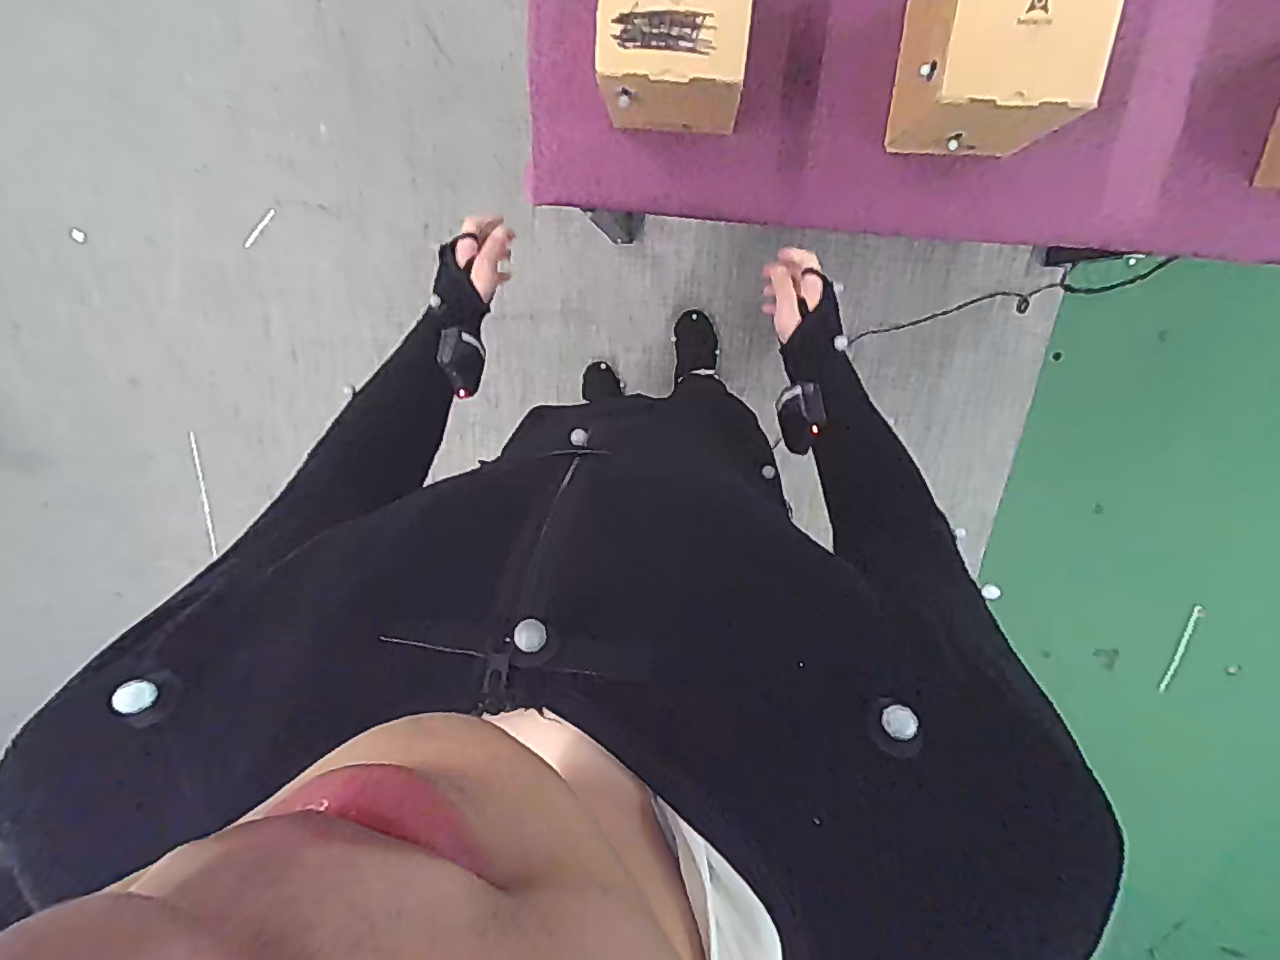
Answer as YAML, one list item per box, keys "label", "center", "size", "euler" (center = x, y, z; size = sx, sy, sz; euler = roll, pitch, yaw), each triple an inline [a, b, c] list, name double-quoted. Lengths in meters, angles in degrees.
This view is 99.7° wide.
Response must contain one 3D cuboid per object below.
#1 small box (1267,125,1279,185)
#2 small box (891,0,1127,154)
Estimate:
- label: "small box"
  center: [0.886, -0.441, 0.600]
  size: [0.168, 0.176, 0.179]
  euler: [7, 106, 5]
- label: "small box"
  center: [0.413, -0.505, 0.627]
  size: [0.168, 0.176, 0.179]
  euler: [4, 107, 3]
